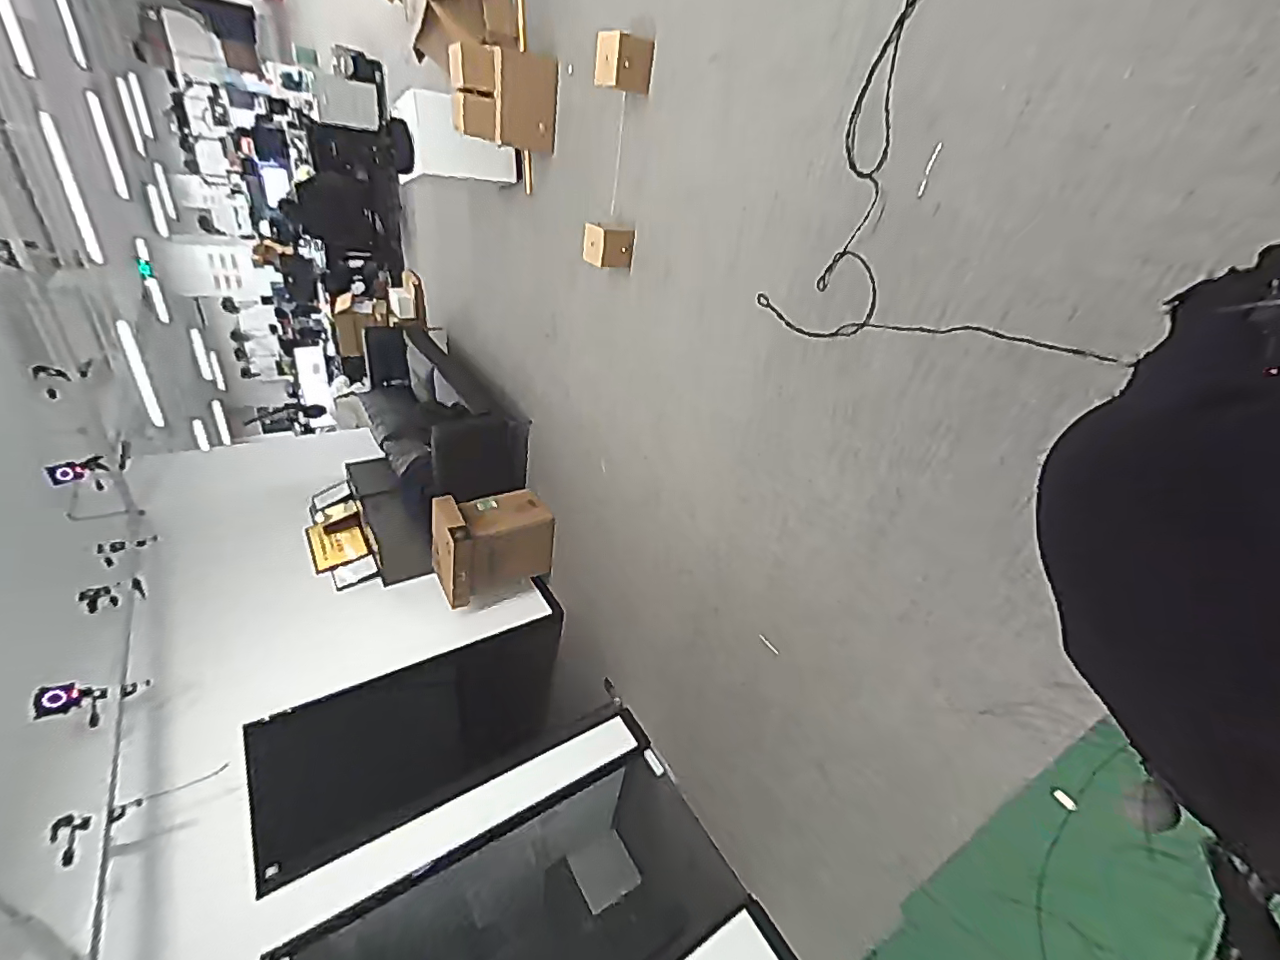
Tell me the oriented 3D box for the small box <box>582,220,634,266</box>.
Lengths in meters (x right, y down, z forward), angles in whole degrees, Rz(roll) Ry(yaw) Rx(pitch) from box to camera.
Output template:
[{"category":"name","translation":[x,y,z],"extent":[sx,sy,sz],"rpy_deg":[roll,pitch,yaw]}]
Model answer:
[{"category":"small box","translation":[-0.151,-1.108,2.532],"extent":[0.179,0.176,0.168],"rpy_deg":[42,135,41]}]

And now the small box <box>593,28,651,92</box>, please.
[{"category":"small box","translation":[-0.071,-1.689,2.177],"extent":[0.168,0.176,0.179],"rpy_deg":[42,136,41]}]
